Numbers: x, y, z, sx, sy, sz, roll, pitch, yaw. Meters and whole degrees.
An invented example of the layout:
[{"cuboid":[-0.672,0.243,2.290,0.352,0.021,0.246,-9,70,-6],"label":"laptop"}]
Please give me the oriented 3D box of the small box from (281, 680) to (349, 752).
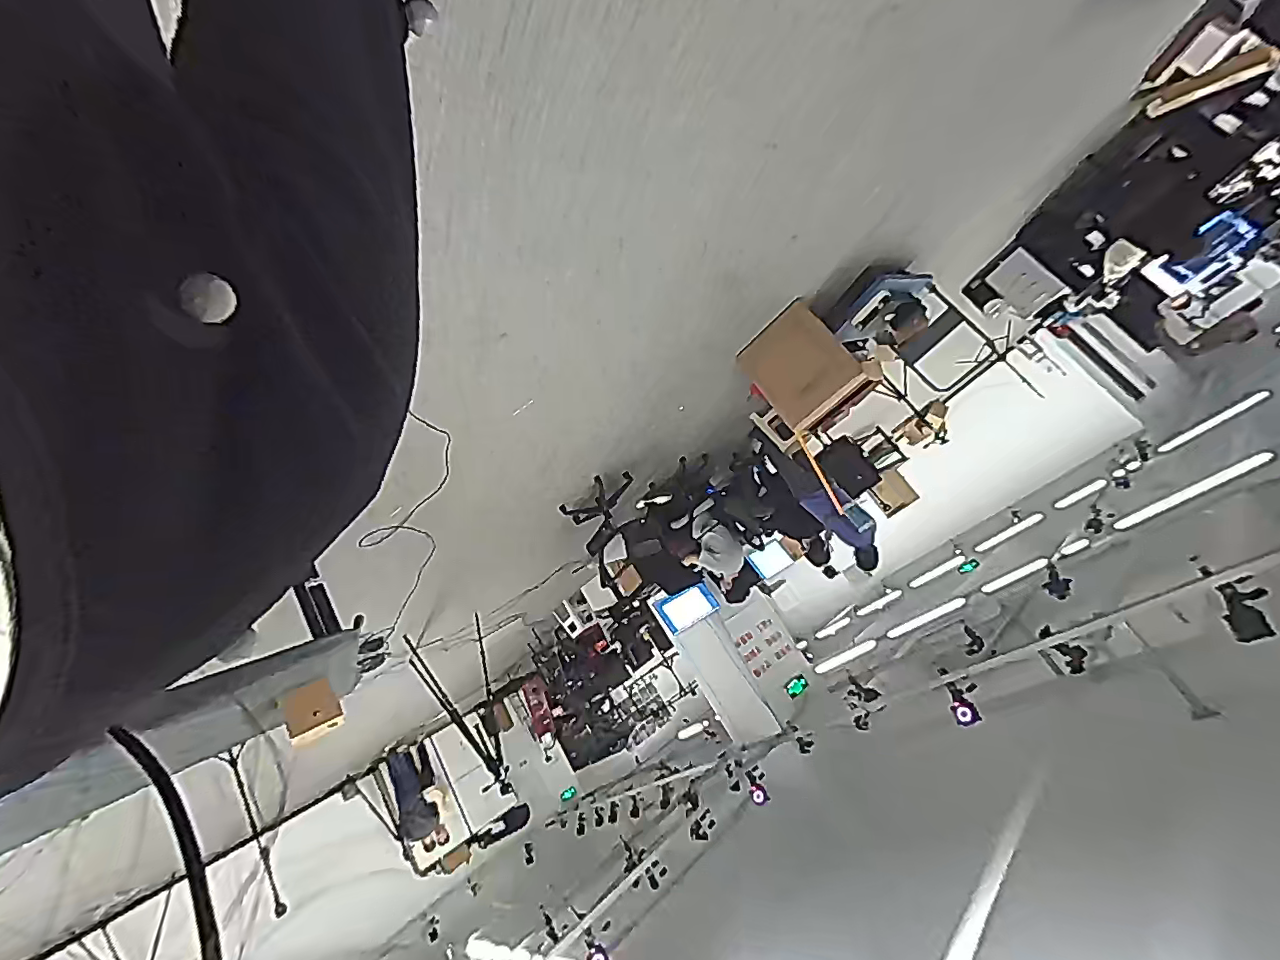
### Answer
[{"cuboid":[-1.212,0.877,2.022,0.179,0.176,0.168,-19,157,-36],"label":"small box"}]
